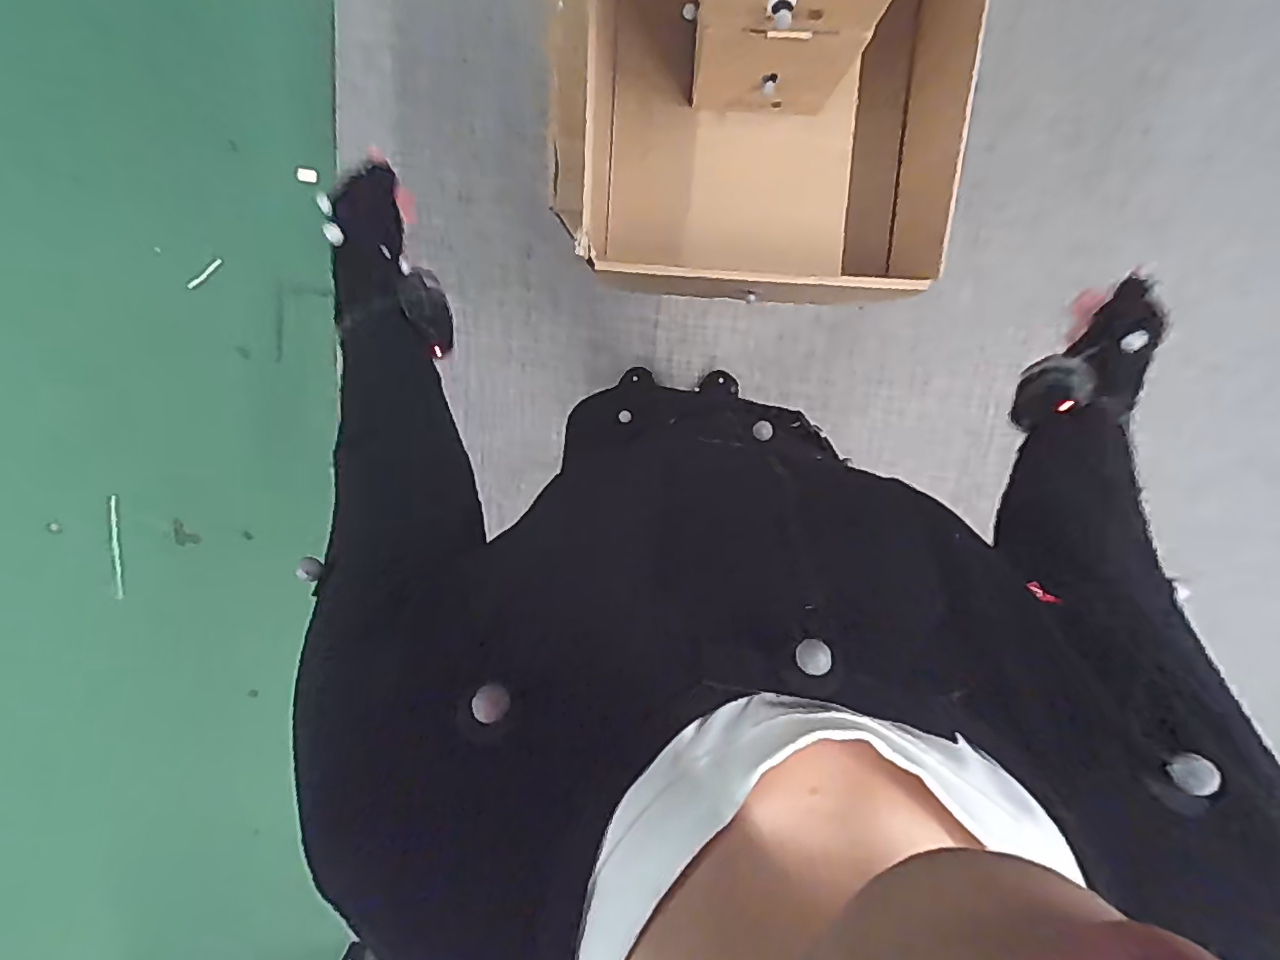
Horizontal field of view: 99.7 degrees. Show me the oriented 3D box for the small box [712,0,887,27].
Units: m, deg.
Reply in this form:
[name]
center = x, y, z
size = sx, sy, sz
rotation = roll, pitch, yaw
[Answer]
[small box]
center = 0.145, -0.507, 0.424
size = 0.168, 0.176, 0.179
rotation = 1, 103, 2
